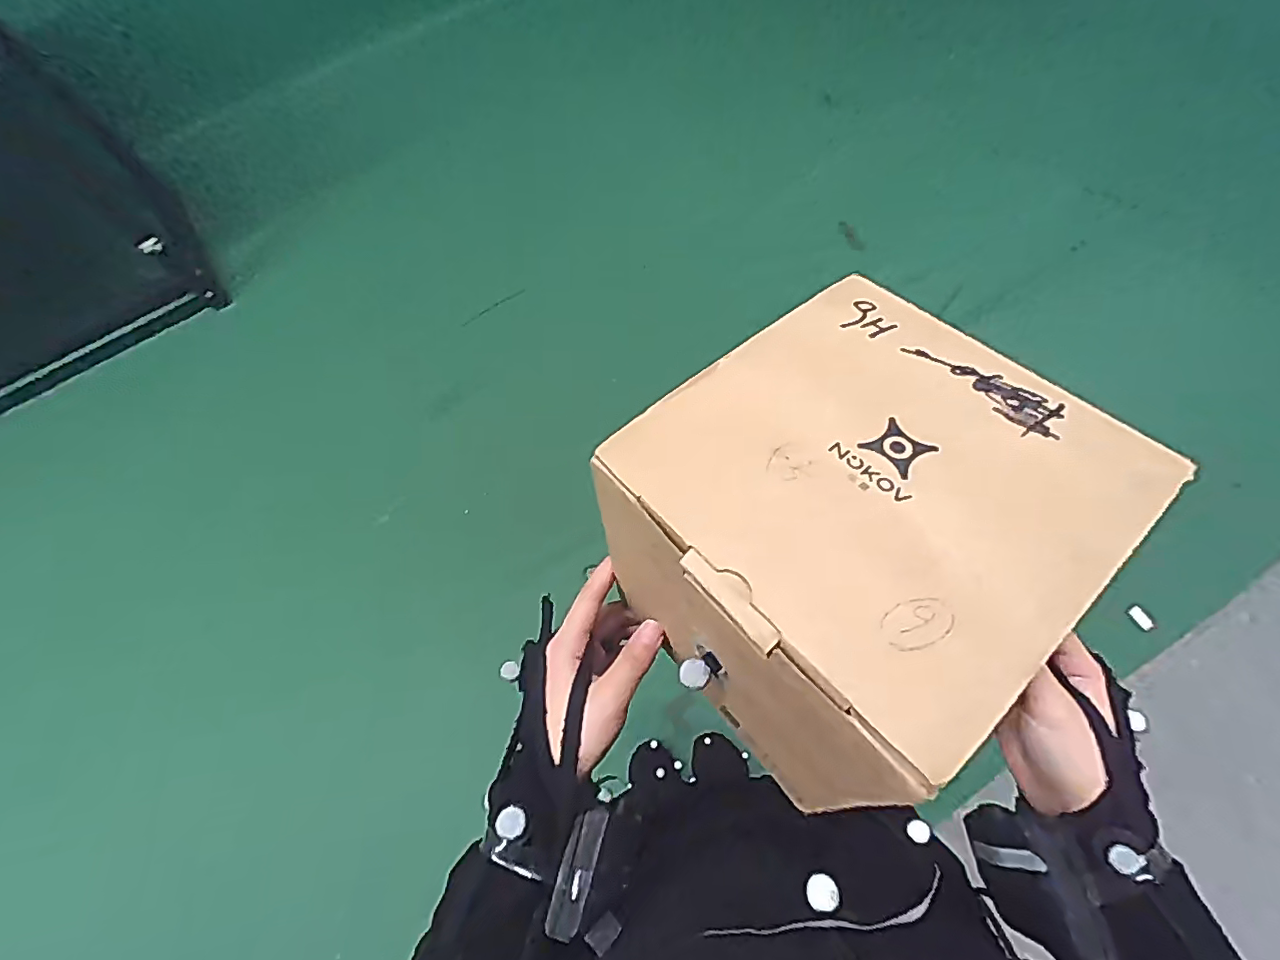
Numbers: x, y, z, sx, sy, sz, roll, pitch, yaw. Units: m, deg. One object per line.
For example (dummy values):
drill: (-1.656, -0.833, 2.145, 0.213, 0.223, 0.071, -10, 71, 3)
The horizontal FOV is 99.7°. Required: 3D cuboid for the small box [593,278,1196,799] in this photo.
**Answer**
small box: (0.101, 0.037, 0.284, 0.179, 0.176, 0.168, -35, 62, -18)
